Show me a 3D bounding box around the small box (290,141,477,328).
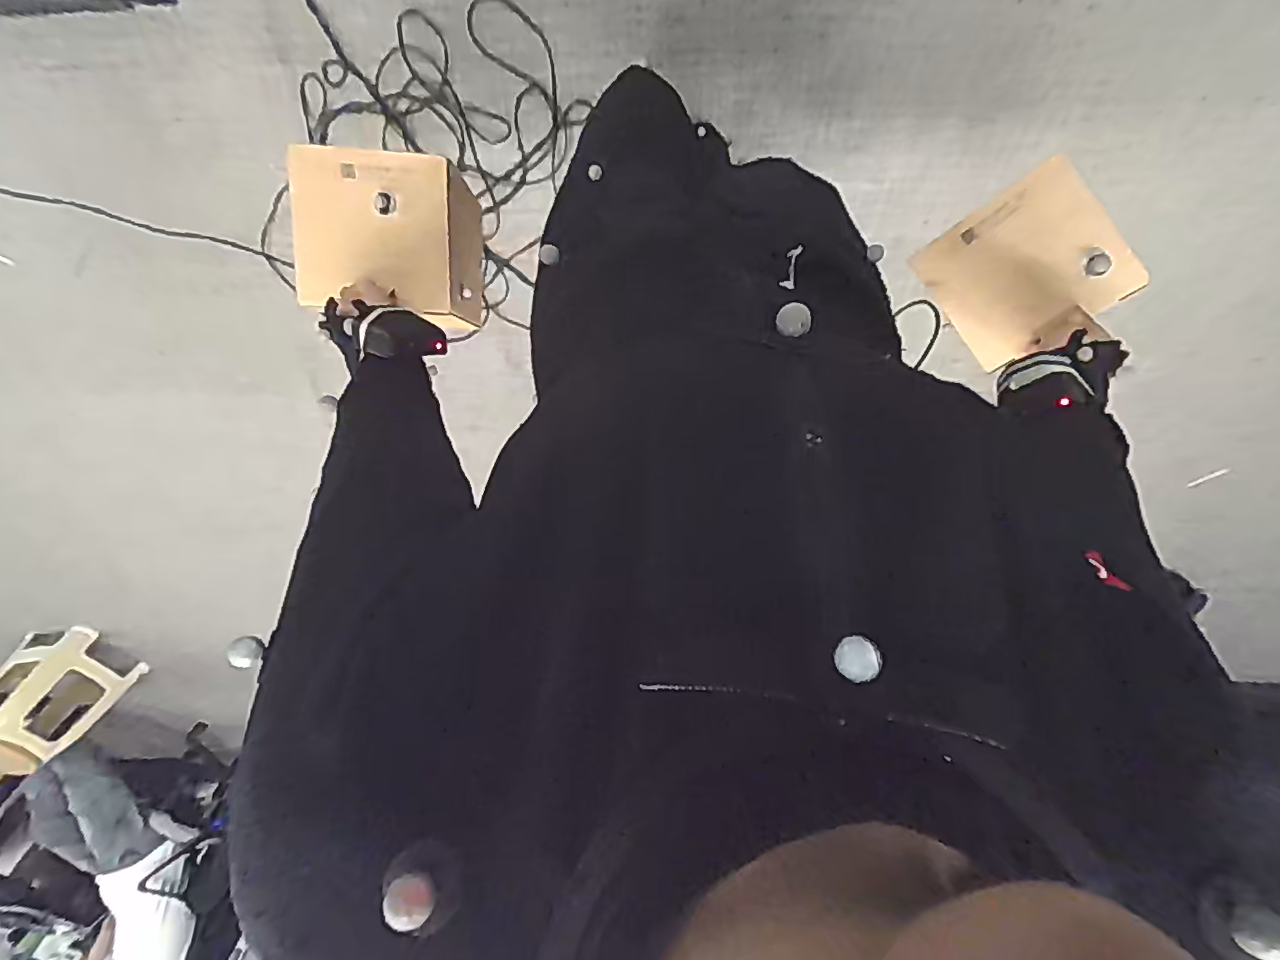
[{"bbox_3d":[-0.299,-0.285,0.664,0.168,0.179,0.176,2,101,-6],"label":"small box"}]
